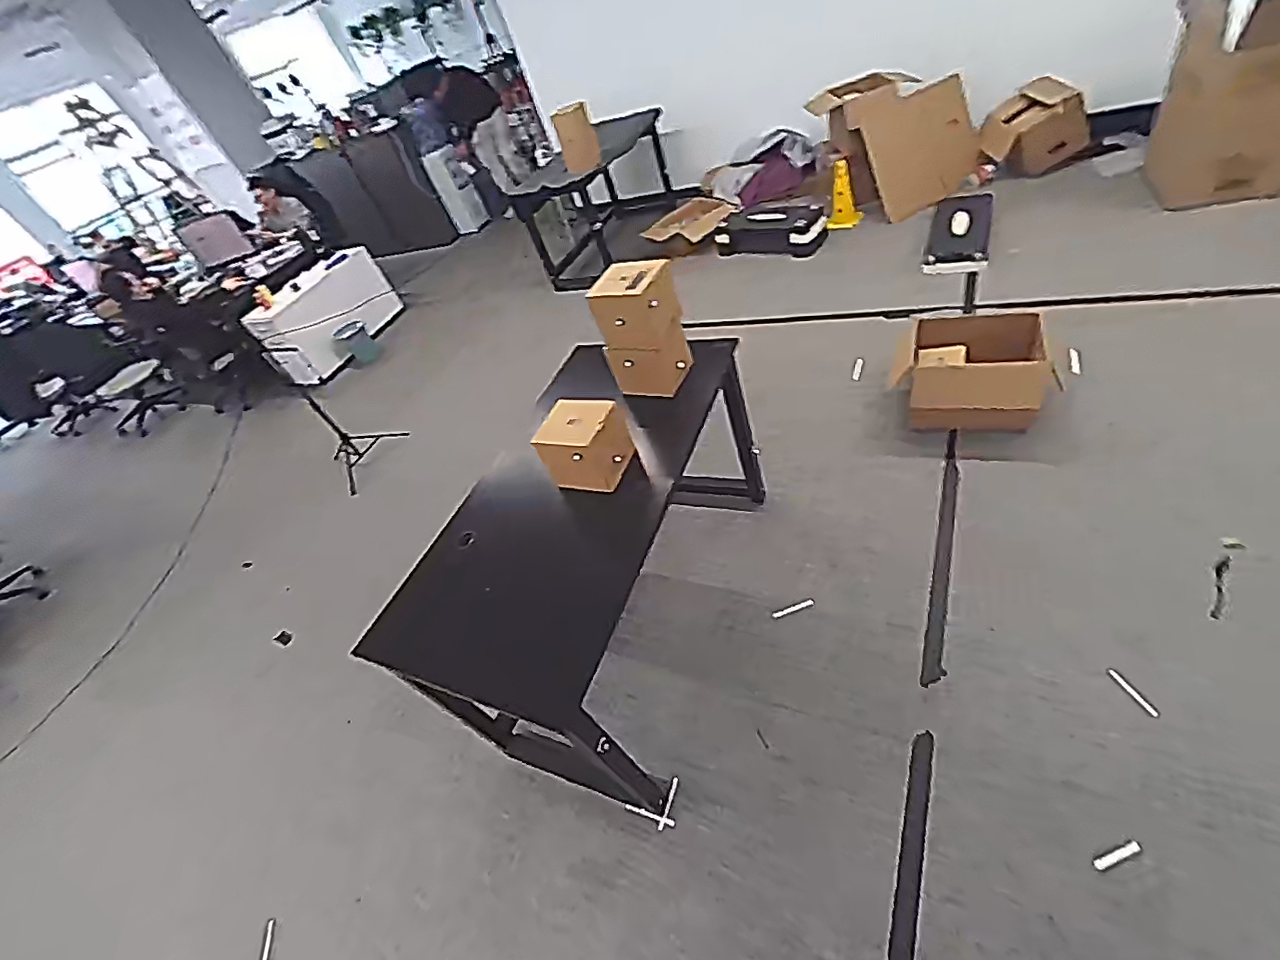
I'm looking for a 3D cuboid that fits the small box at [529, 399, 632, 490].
[{"bbox_3d":[-0.147,-0.091,1.390,0.179,0.176,0.168,5,50,27],"label":"small box"}]

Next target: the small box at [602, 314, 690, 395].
[{"bbox_3d":[0.022,-0.363,1.578,0.179,0.176,0.168,10,54,31],"label":"small box"}]
